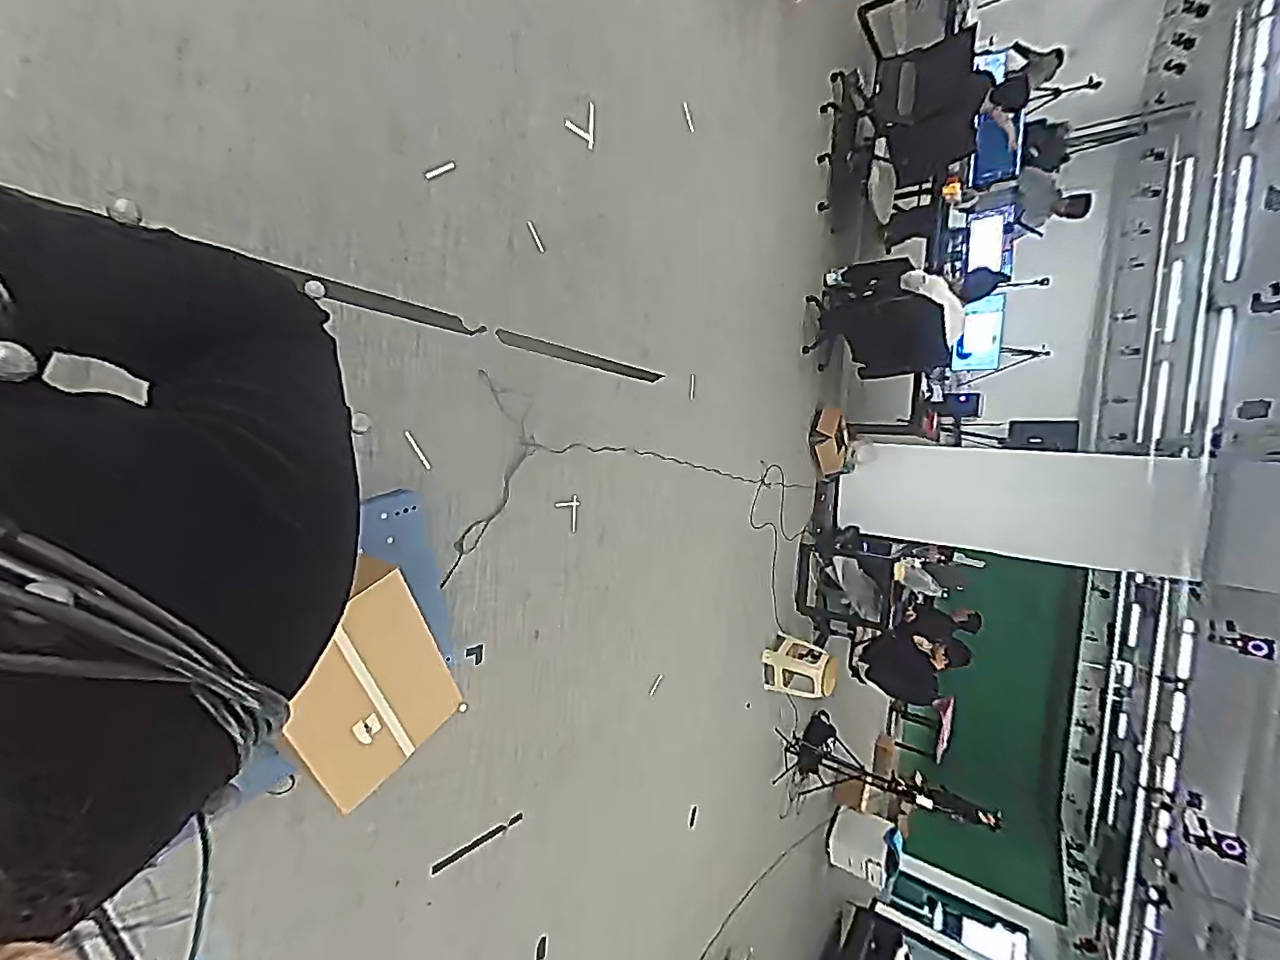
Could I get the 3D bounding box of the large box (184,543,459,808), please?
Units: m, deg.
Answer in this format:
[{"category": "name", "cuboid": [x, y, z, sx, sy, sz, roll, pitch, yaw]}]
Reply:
[{"category": "large box", "cuboid": [-0.677, 0.404, 1.186, 0.320, 0.320, 0.408, -39, 126, -43]}]
